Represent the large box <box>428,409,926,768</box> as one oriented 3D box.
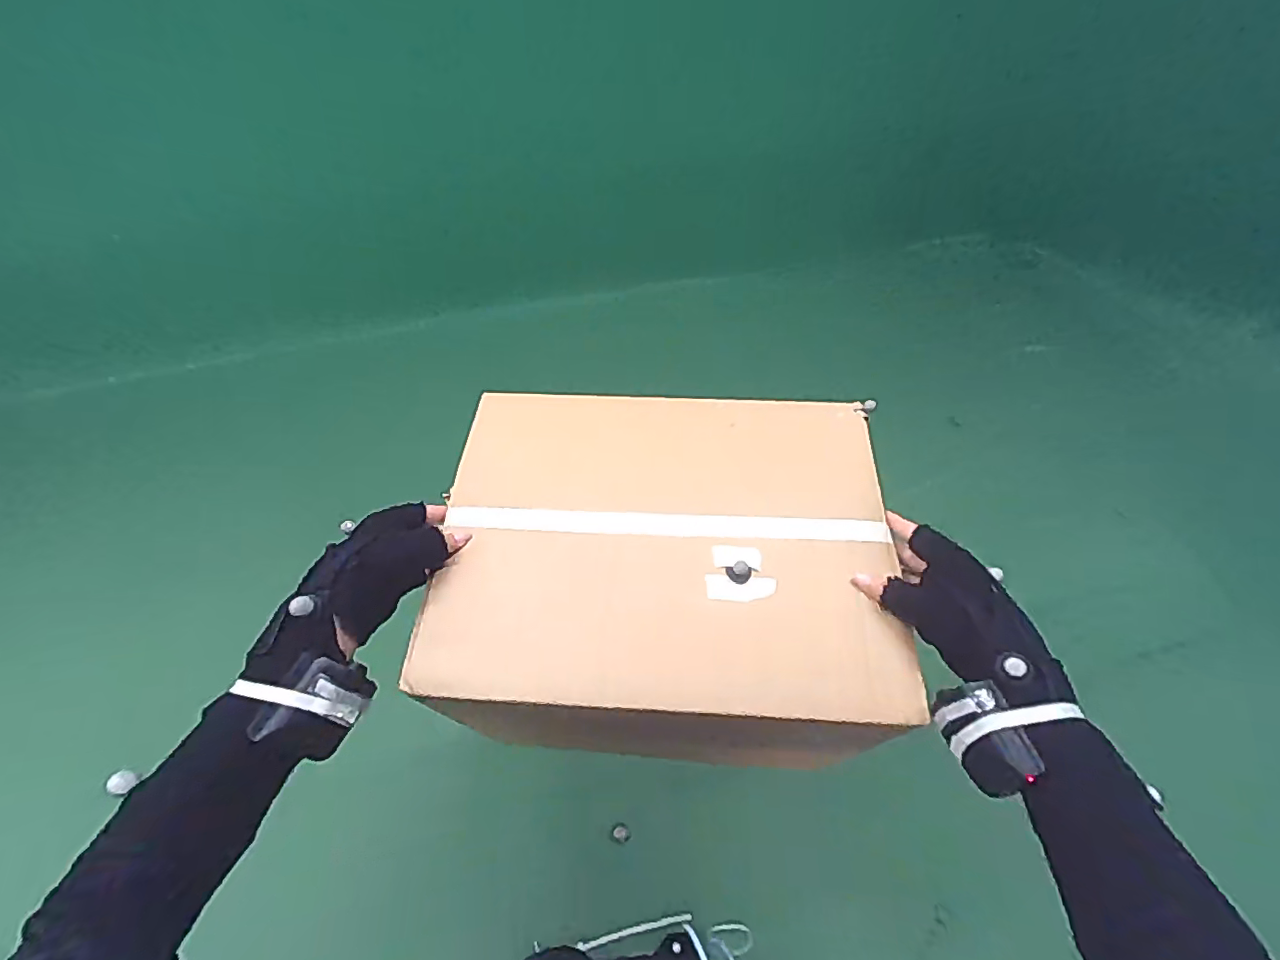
[{"bbox_3d":[0.034,0.137,0.630,0.408,0.320,0.320,3,57,3],"label":"large box"}]
